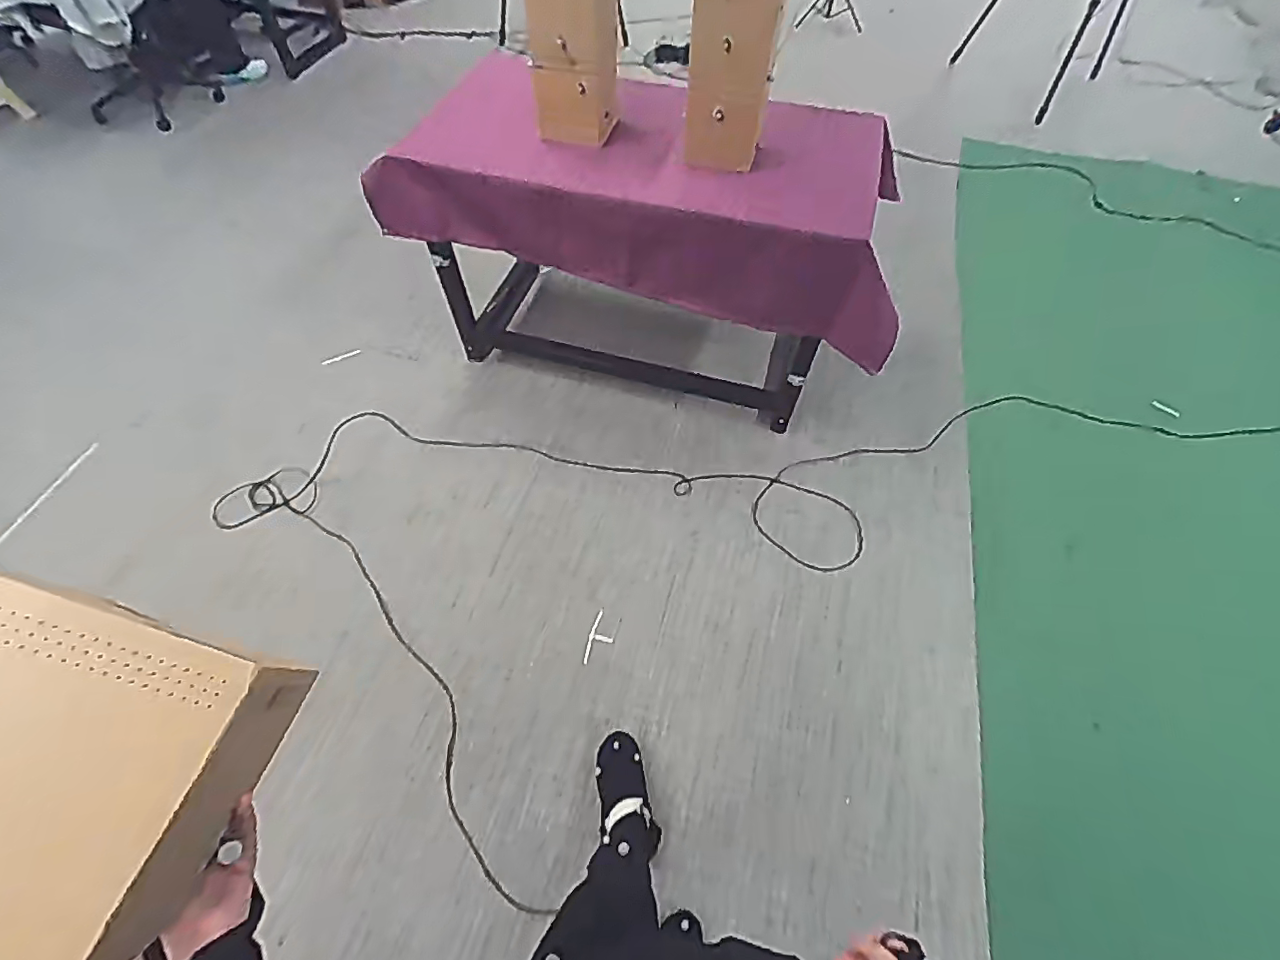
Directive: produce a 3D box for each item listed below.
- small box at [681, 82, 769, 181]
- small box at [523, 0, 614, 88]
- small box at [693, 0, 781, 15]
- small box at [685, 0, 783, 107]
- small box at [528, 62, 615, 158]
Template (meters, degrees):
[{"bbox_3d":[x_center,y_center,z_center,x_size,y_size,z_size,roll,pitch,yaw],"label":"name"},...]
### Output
[{"bbox_3d":[0.204,-0.870,1.339,0.179,0.176,0.168,14,59,8],"label":"small box"},{"bbox_3d":[-0.161,-1.057,1.264,0.168,0.176,0.179,12,57,7],"label":"small box"},{"bbox_3d":[0.204,-1.052,1.066,0.179,0.176,0.168,12,59,9],"label":"small box"},{"bbox_3d":[0.205,-0.960,1.202,0.179,0.176,0.168,13,58,9],"label":"small box"},{"bbox_3d":[-0.170,-0.965,1.401,0.179,0.176,0.168,13,58,7],"label":"small box"}]
